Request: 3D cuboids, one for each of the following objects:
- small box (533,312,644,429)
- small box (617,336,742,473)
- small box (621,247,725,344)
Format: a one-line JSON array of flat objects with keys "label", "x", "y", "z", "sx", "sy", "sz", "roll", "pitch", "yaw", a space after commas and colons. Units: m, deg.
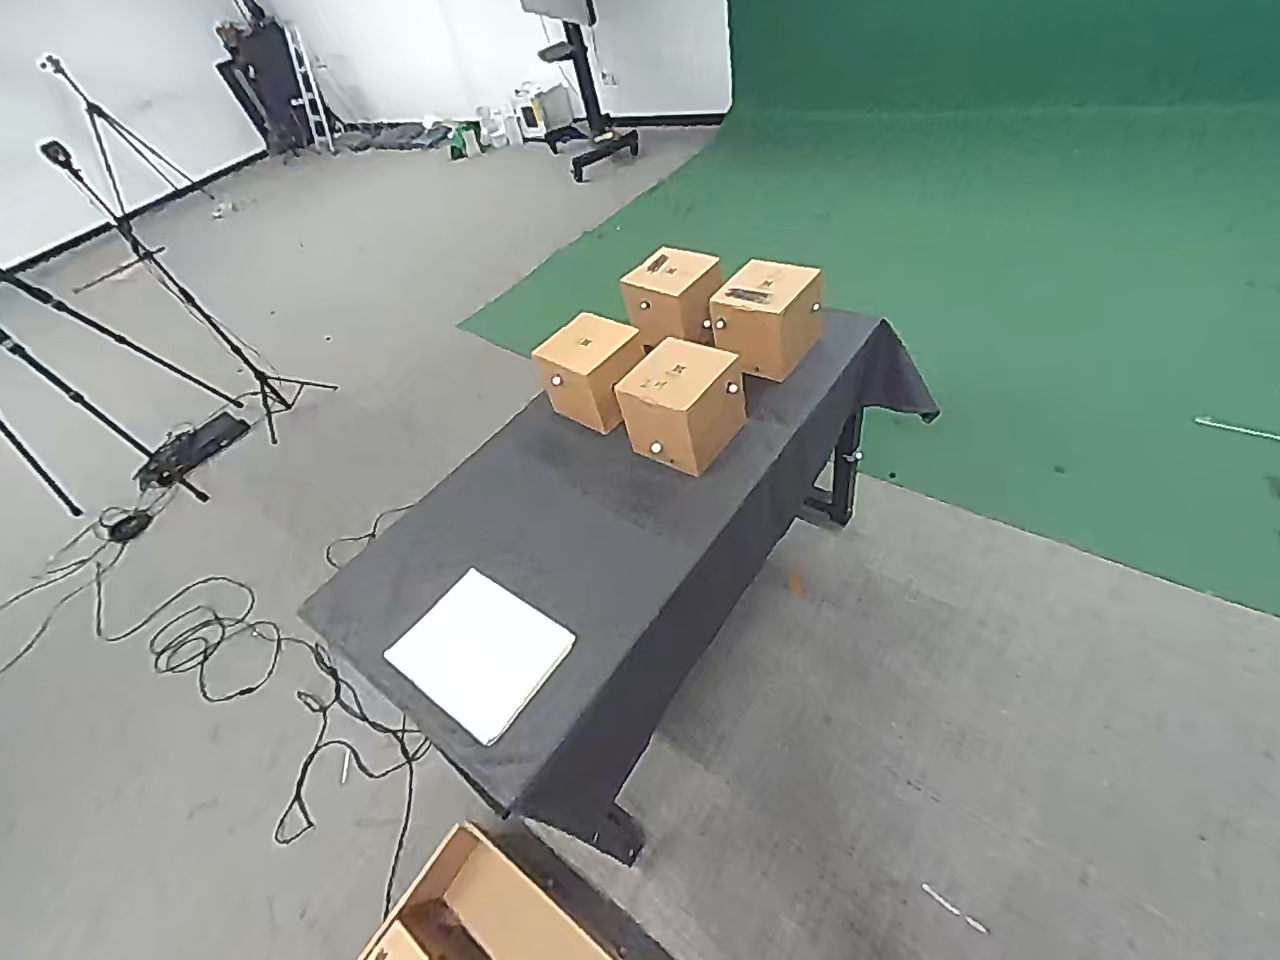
[{"label": "small box", "x": -0.096, "y": -0.237, "z": 1.183, "sx": 0.179, "sy": 0.176, "sz": 0.168, "roll": 28, "pitch": 61, "yaw": 34}, {"label": "small box", "x": 0.085, "y": -0.146, "z": 1.044, "sx": 0.168, "sy": 0.176, "sz": 0.179, "roll": 25, "pitch": 60, "yaw": 34}, {"label": "small box", "x": 0.085, "y": -0.431, "z": 1.299, "sx": 0.179, "sy": 0.176, "sz": 0.168, "roll": 28, "pitch": 62, "yaw": 33}]
